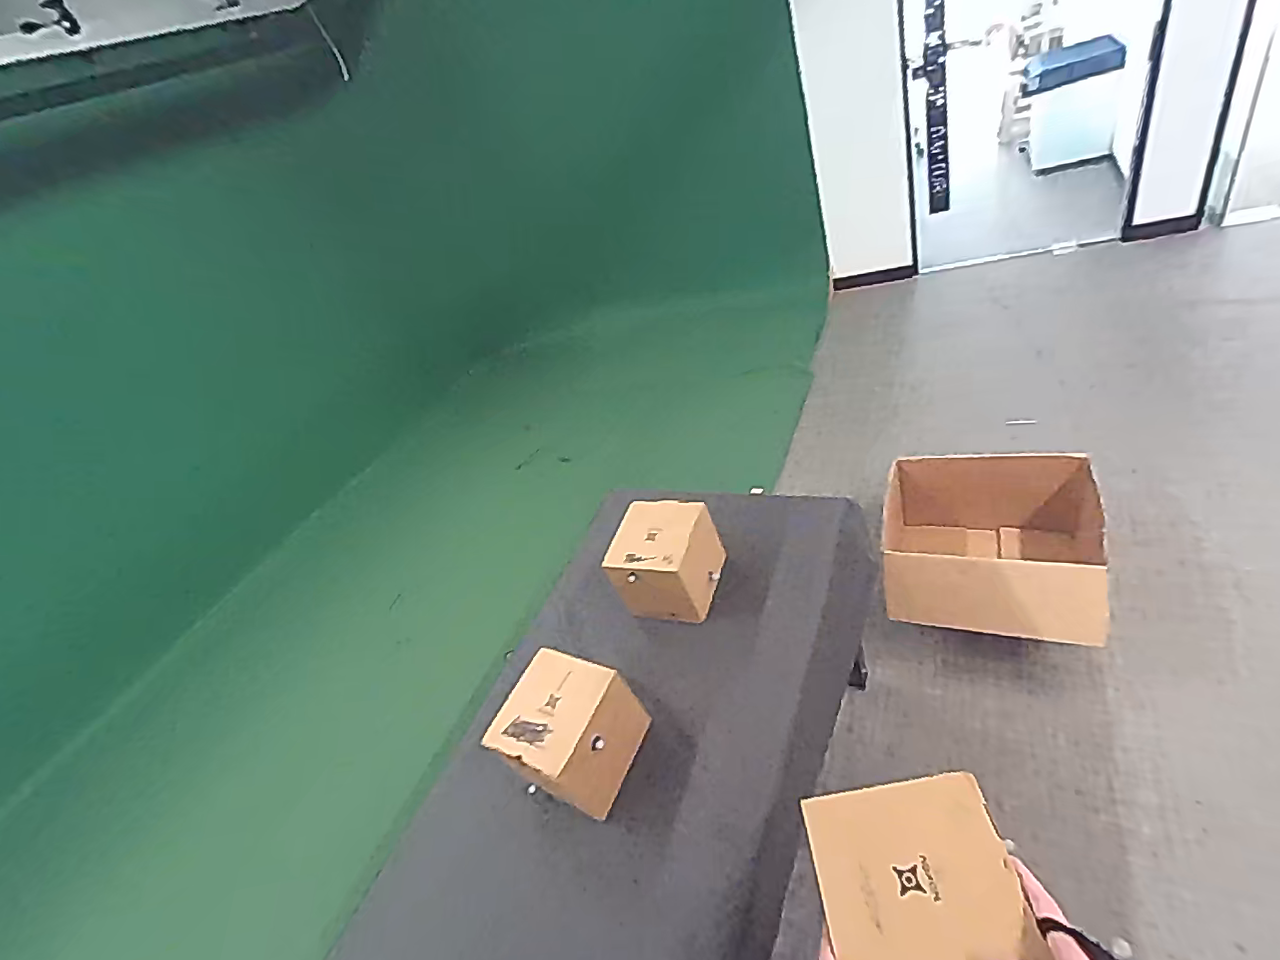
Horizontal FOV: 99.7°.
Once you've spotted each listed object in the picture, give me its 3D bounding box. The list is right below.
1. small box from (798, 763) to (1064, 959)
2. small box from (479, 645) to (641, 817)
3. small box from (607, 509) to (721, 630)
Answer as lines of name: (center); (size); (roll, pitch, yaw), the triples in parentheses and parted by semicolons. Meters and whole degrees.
small box: (0.279, 0.412, 0.532); (0.179, 0.176, 0.168); (-22, 34, 15)
small box: (-0.120, 0.411, 0.890); (0.168, 0.176, 0.179); (9, 48, 35)
small box: (0.058, 0.180, 1.110); (0.168, 0.176, 0.179); (-1, 43, 27)
